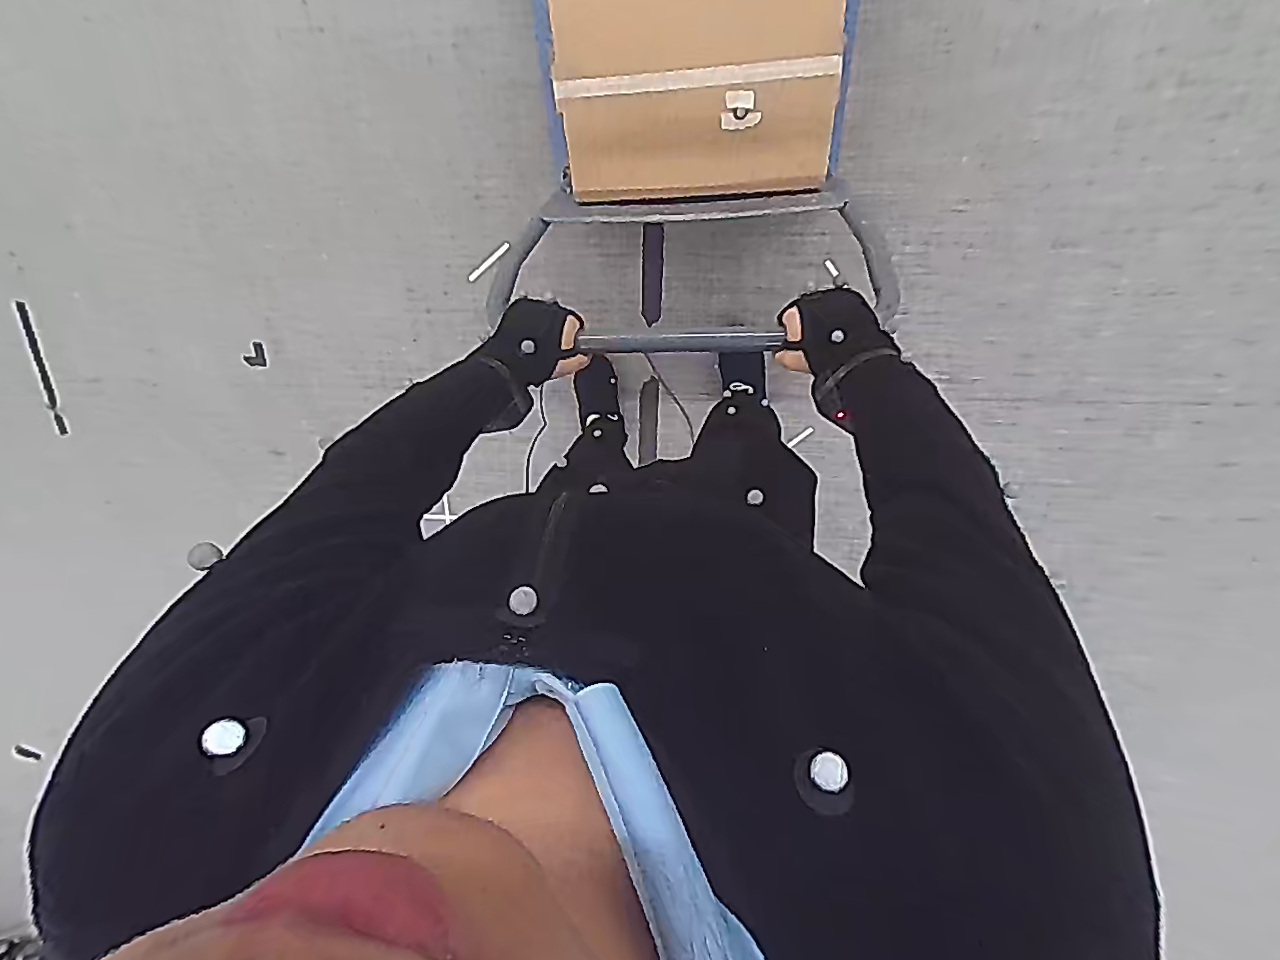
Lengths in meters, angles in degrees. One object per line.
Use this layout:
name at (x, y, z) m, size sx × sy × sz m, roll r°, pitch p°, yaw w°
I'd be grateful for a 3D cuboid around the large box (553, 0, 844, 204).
large box at (0.096, -0.681, 0.913) m, size 0.408 × 0.320 × 0.320 m, roll -1°, pitch 128°, yaw 7°
